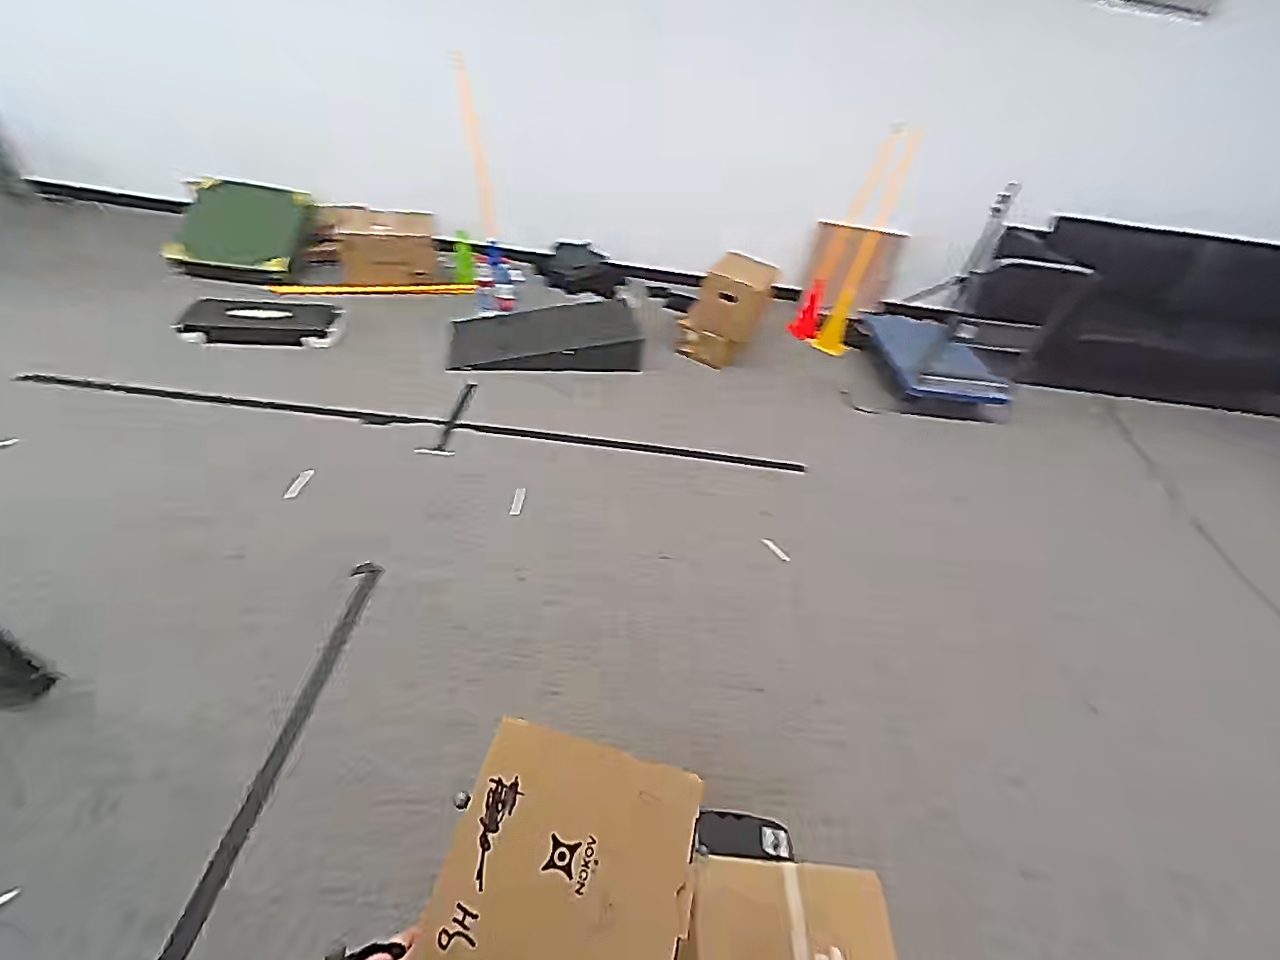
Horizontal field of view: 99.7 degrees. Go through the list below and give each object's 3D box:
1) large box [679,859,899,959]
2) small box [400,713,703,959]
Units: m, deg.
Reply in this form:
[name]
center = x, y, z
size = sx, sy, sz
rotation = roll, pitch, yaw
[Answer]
[large box]
center = 0.219, 0.878, 0.835
size = 0.320, 0.320, 0.408
rotation = 8, 40, -3
[small box]
center = -0.066, 0.322, 0.443
size = 0.179, 0.176, 0.168
rotation = 18, 47, 0
